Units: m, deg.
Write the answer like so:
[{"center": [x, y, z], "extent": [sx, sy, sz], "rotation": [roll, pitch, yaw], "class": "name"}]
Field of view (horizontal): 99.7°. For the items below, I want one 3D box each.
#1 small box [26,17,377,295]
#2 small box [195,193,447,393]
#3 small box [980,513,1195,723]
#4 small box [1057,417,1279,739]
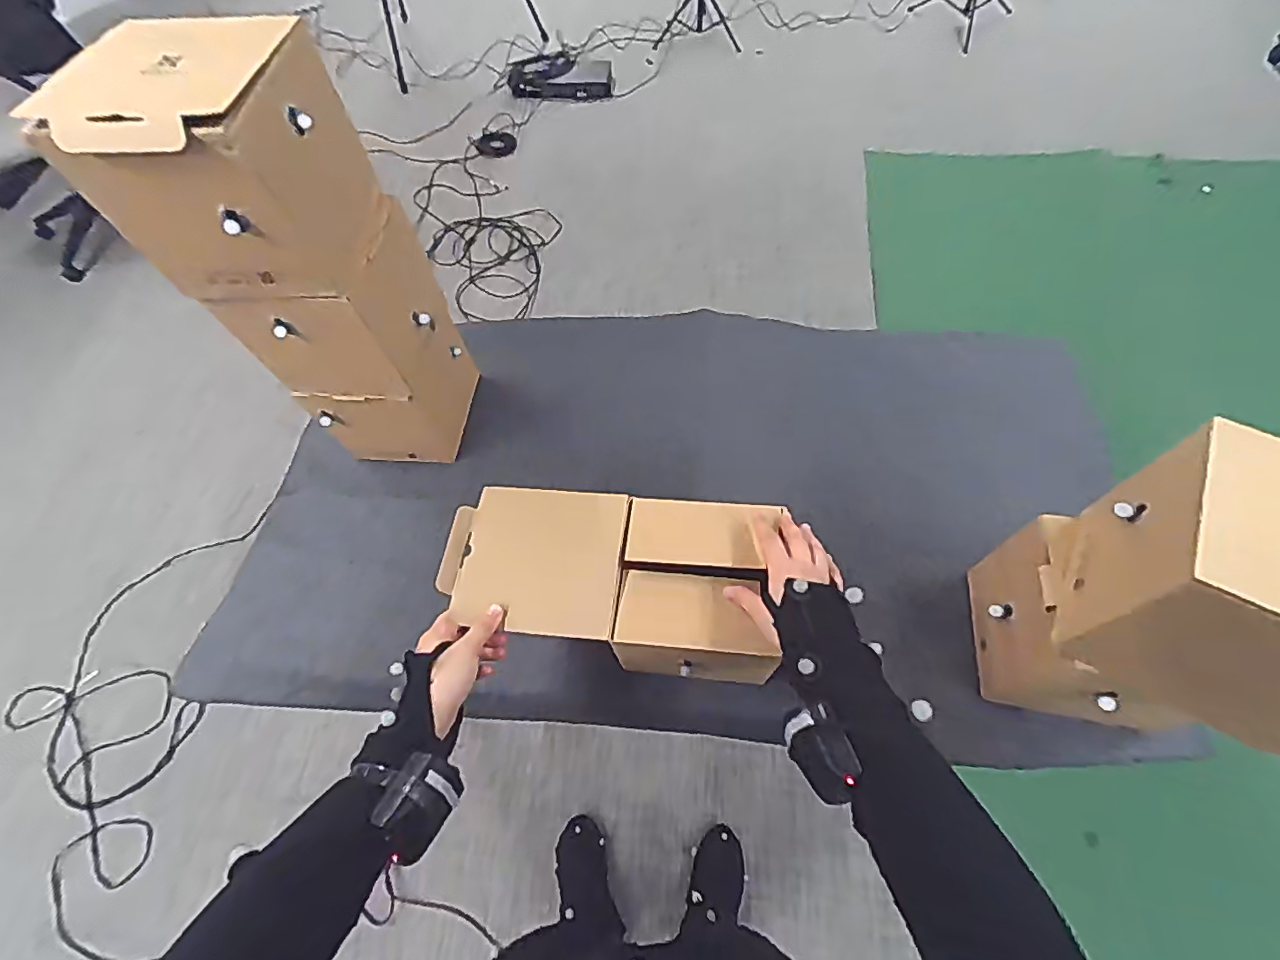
[{"center": [-0.380, -0.296, 0.515], "extent": [0.168, 0.176, 0.179], "rotation": [0, 62, 2], "class": "small box"}, {"center": [-0.365, -0.221, 0.658], "extent": [0.179, 0.176, 0.168], "rotation": [4, 64, 5], "class": "small box"}, {"center": [0.498, 0.155, 0.588], "extent": [0.179, 0.176, 0.168], "rotation": [8, 60, 9], "class": "small box"}, {"center": [0.491, 0.086, 0.439], "extent": [0.179, 0.176, 0.168], "rotation": [28, 64, 17], "class": "small box"}]
